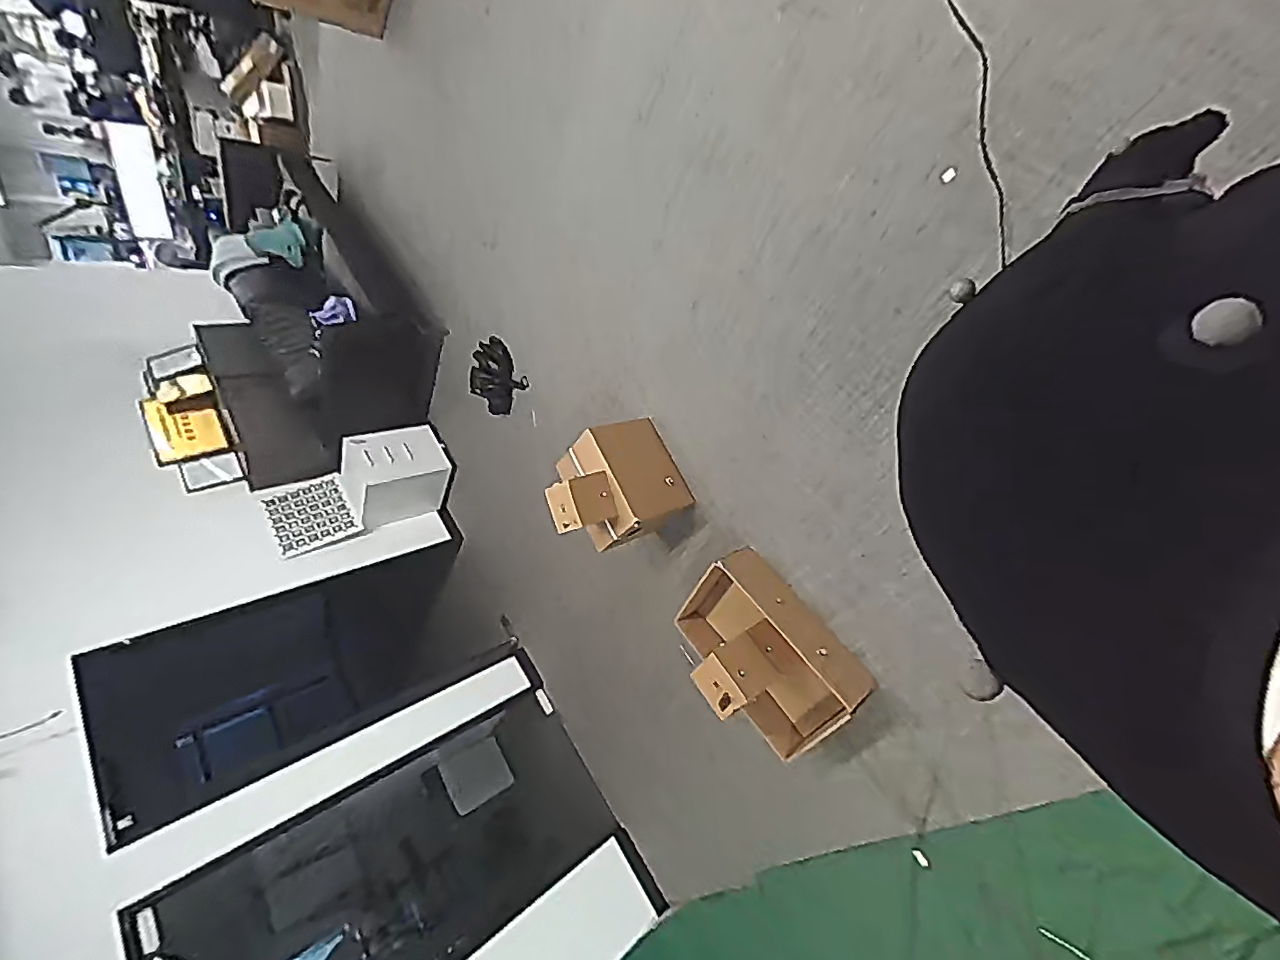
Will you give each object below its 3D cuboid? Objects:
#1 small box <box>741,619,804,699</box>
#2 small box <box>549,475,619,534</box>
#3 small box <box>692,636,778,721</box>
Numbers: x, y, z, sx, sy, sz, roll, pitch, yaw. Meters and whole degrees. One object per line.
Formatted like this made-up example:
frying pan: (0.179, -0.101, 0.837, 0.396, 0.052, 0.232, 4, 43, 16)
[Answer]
small box: (0.425, 0.608, 1.856, 0.179, 0.176, 0.168, 51, 134, 27)
small box: (-0.205, 0.085, 1.984, 0.168, 0.176, 0.179, -19, 87, 50)
small box: (0.308, 0.634, 1.743, 0.179, 0.176, 0.168, 53, 135, 25)
